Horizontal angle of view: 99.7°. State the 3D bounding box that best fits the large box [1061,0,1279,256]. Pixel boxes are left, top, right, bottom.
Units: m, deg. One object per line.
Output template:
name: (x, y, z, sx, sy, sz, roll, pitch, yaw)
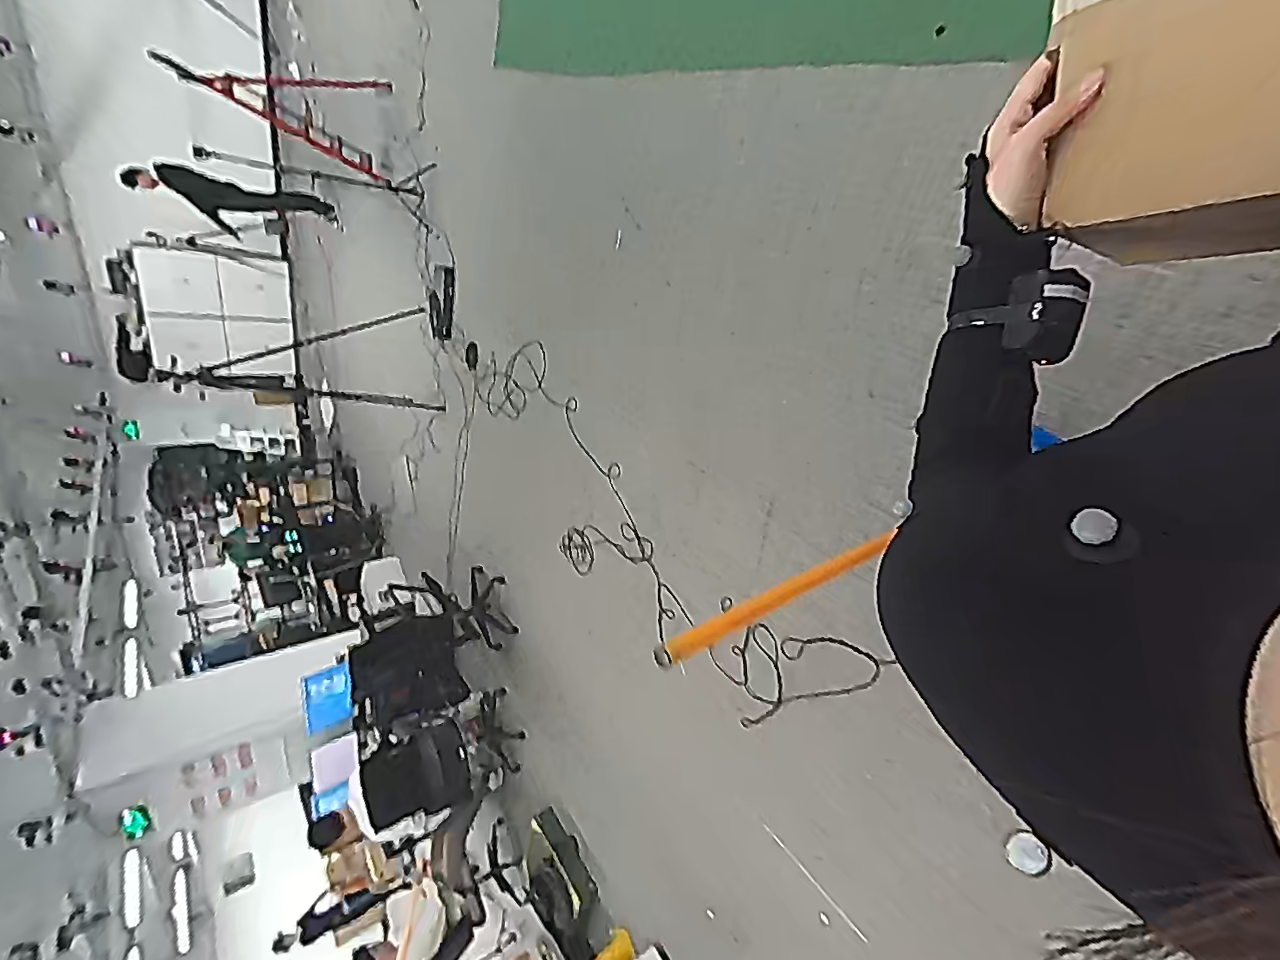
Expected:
large box: (0.560, -0.351, 0.339, 0.408, 0.320, 0.320, 12, 109, 47)
